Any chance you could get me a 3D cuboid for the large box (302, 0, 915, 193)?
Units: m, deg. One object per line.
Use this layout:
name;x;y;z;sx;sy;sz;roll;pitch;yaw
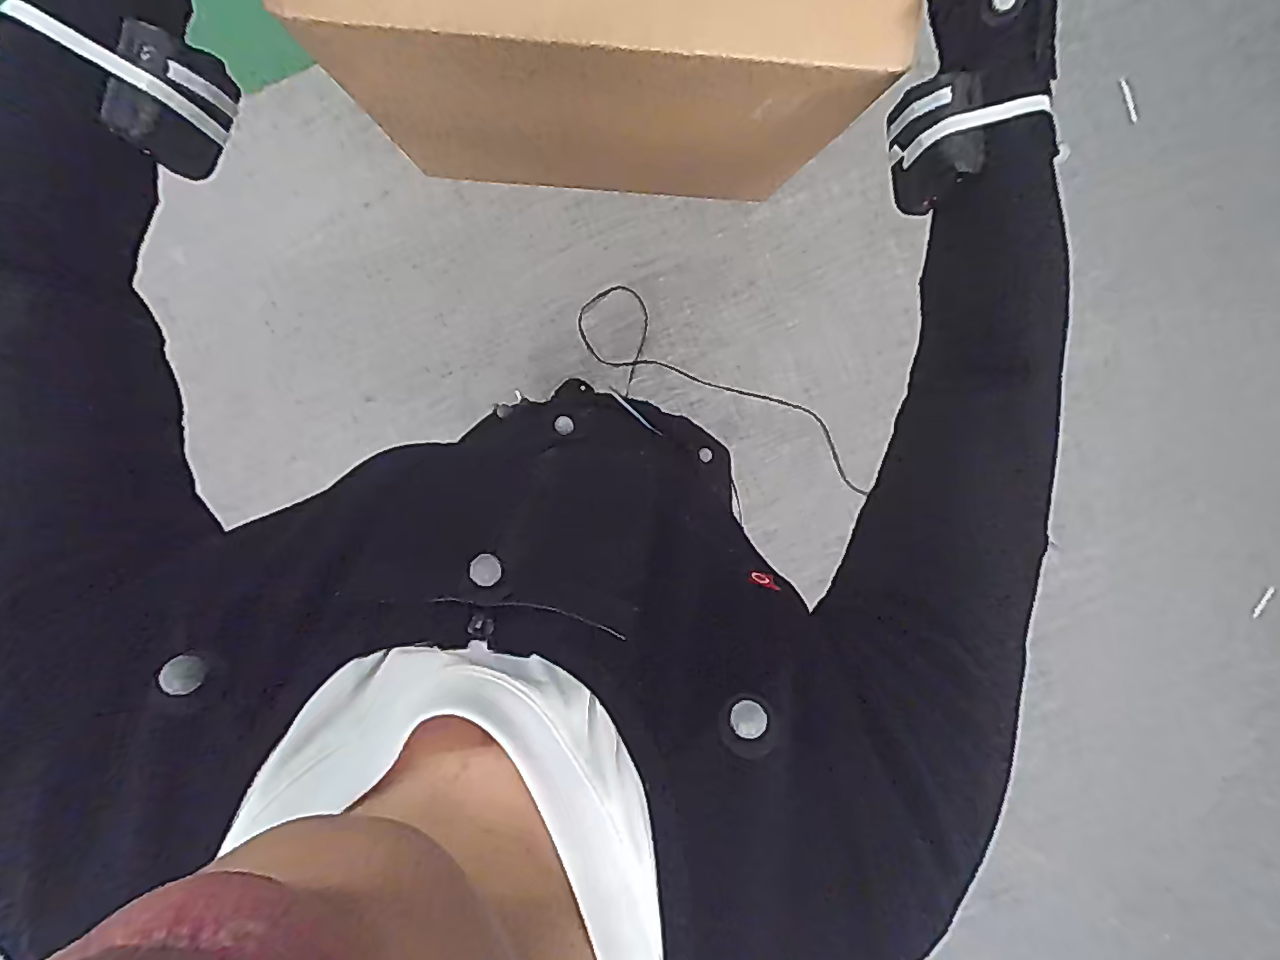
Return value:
large box;-0.023;-0.466;0.461;0.408;0.320;0.320;2;103;-6
